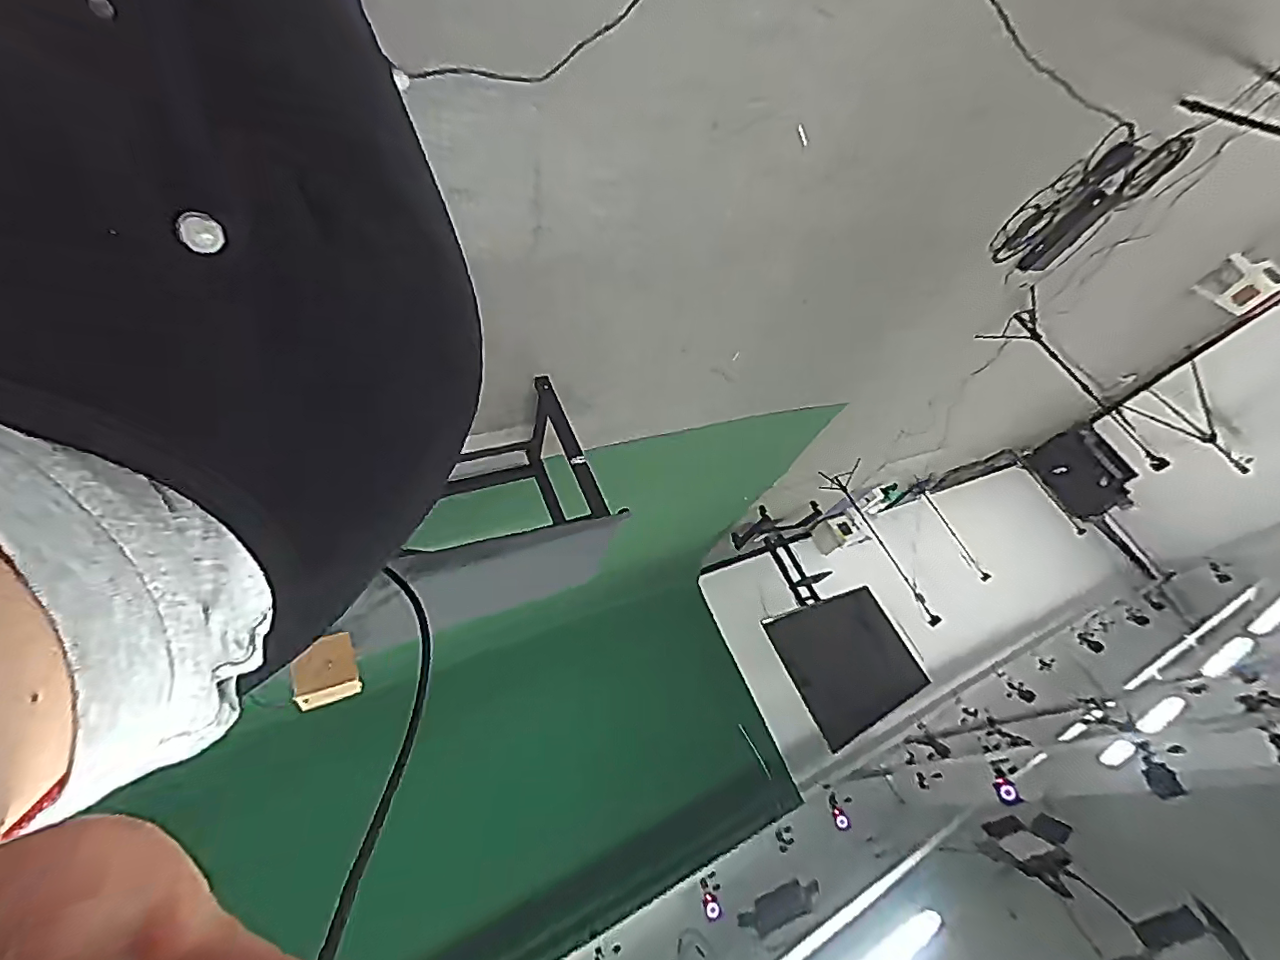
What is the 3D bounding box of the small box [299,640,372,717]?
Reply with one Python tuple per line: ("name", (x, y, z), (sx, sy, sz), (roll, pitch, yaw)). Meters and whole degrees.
("small box", (-1.003, 0.649, 1.782), (0.179, 0.176, 0.168), (-13, 152, -30))
